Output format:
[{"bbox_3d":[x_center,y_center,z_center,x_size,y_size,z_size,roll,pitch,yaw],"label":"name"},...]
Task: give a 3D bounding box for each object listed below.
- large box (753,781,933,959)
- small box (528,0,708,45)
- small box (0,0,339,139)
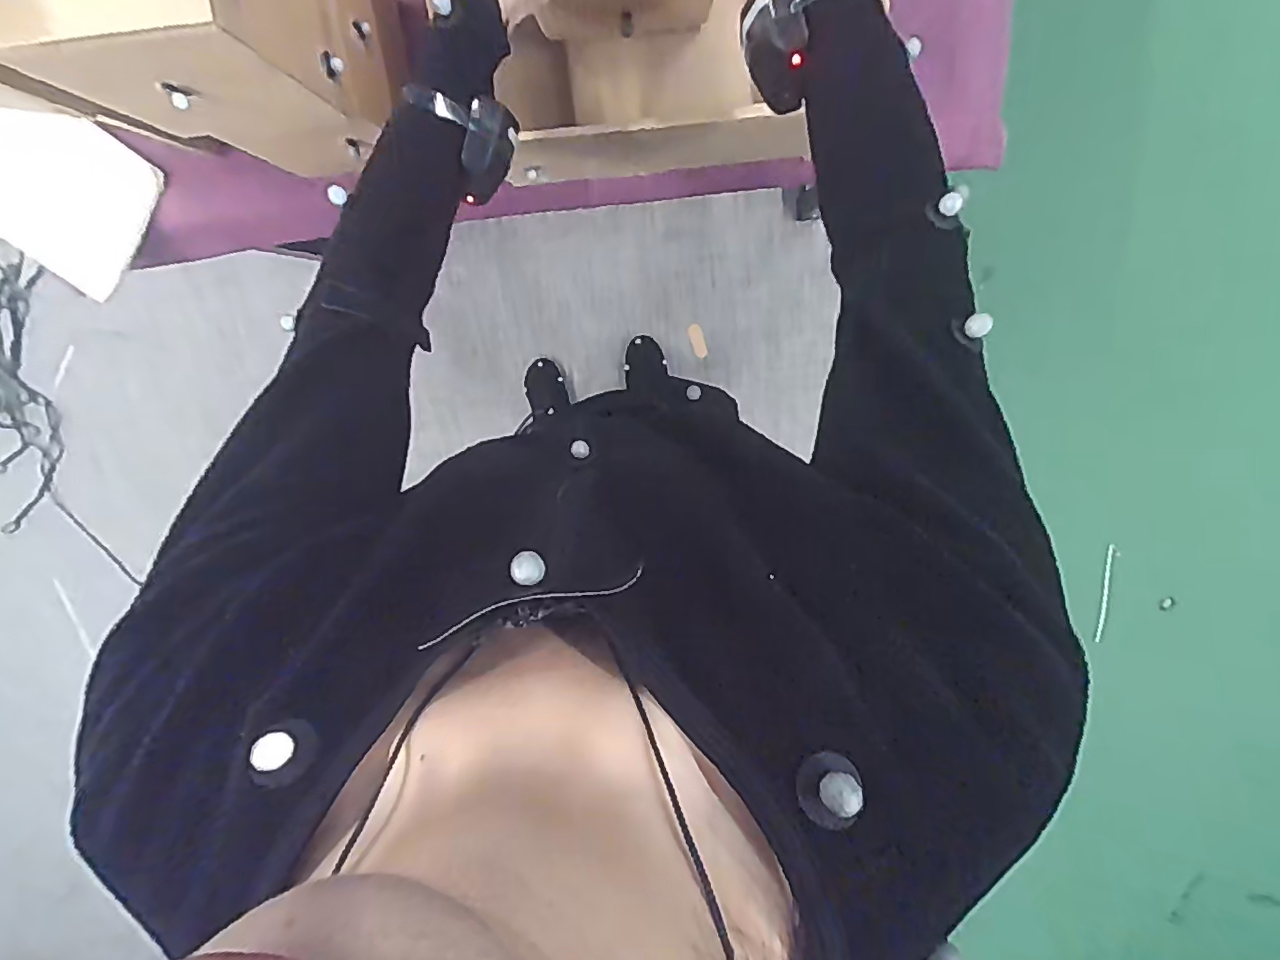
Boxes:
[{"bbox_3d":[0.611,1.222,1.686,0.408,0.320,0.320,-20,104,6],"label":"large box"},{"bbox_3d":[-0.022,-0.517,0.473,0.179,0.176,0.168,-4,109,2],"label":"small box"},{"bbox_3d":[-0.367,-0.392,0.422,0.179,0.176,0.168,-5,104,3],"label":"small box"}]
